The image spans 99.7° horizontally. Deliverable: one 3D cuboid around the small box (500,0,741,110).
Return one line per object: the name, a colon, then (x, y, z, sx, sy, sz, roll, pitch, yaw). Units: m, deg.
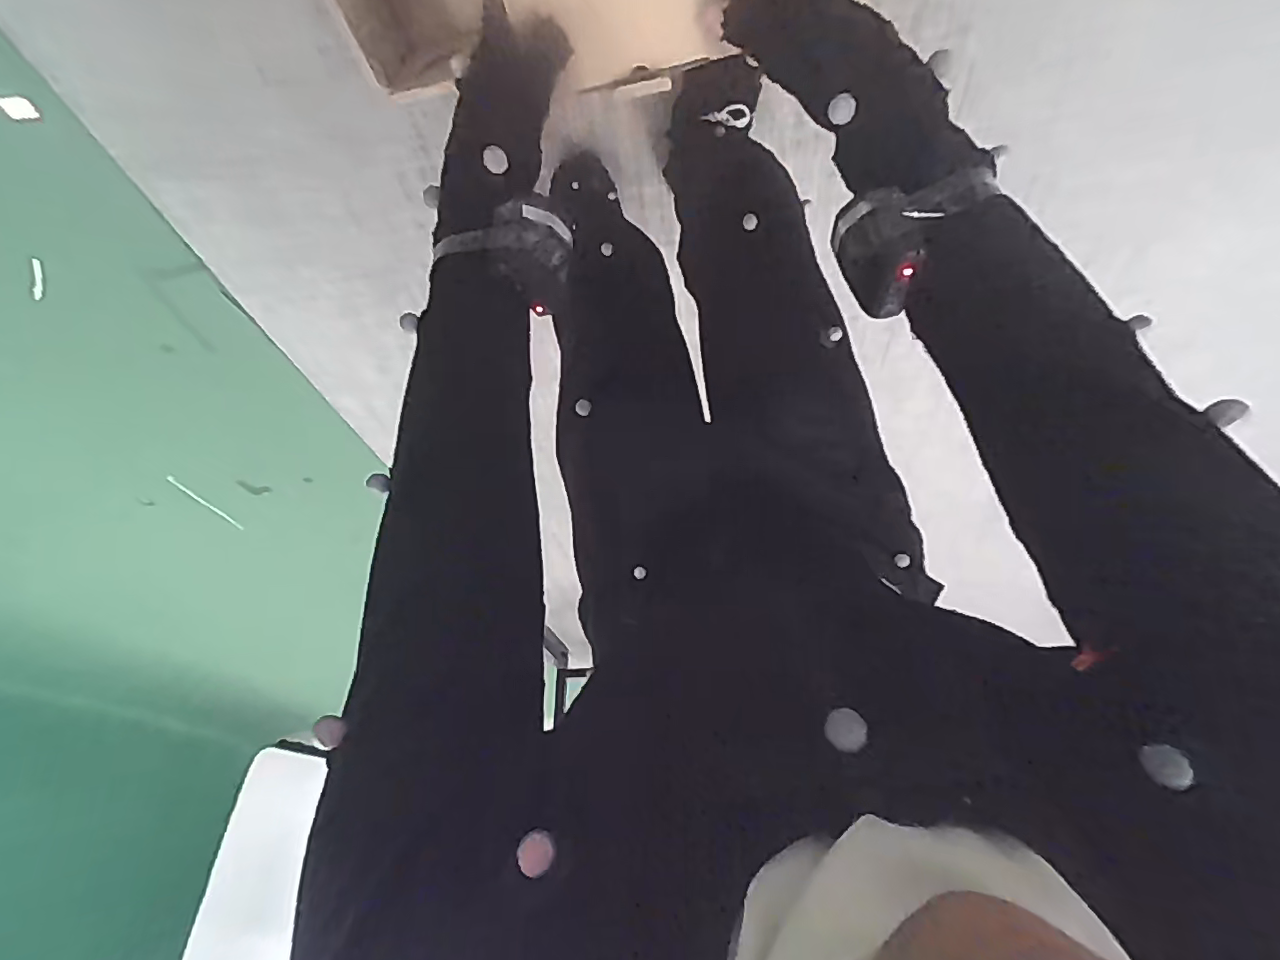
small box: (-0.024, -0.413, 0.388, 0.168, 0.176, 0.179, -10, 144, 6)
